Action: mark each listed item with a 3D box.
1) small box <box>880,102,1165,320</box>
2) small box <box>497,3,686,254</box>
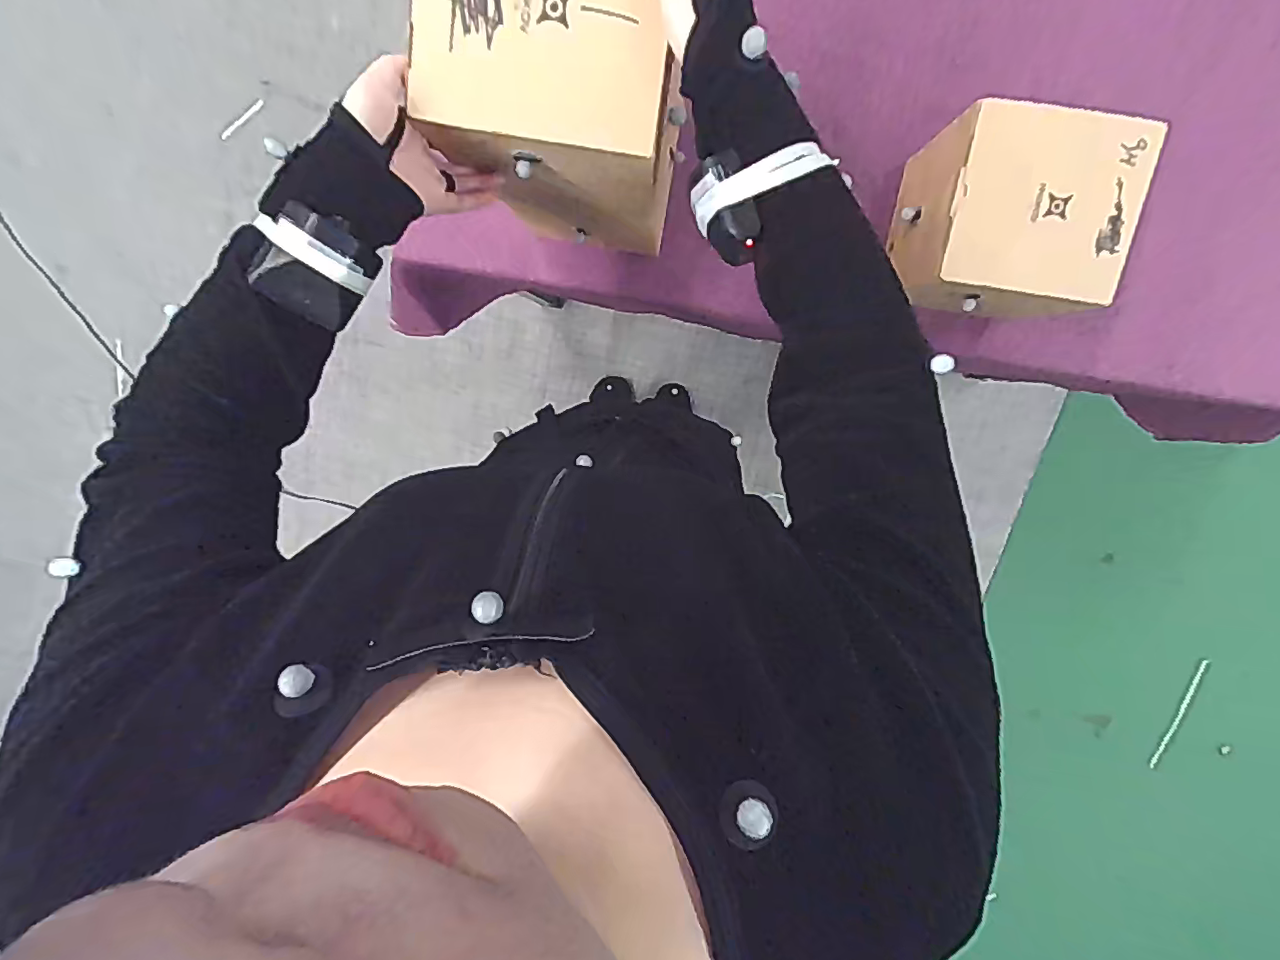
[{"bbox_3d":[0.392,-0.277,0.595,0.179,0.176,0.168,10,102,2],"label":"small box"},{"bbox_3d":[-0.046,-0.366,0.601,0.168,0.176,0.179,10,102,0],"label":"small box"}]
